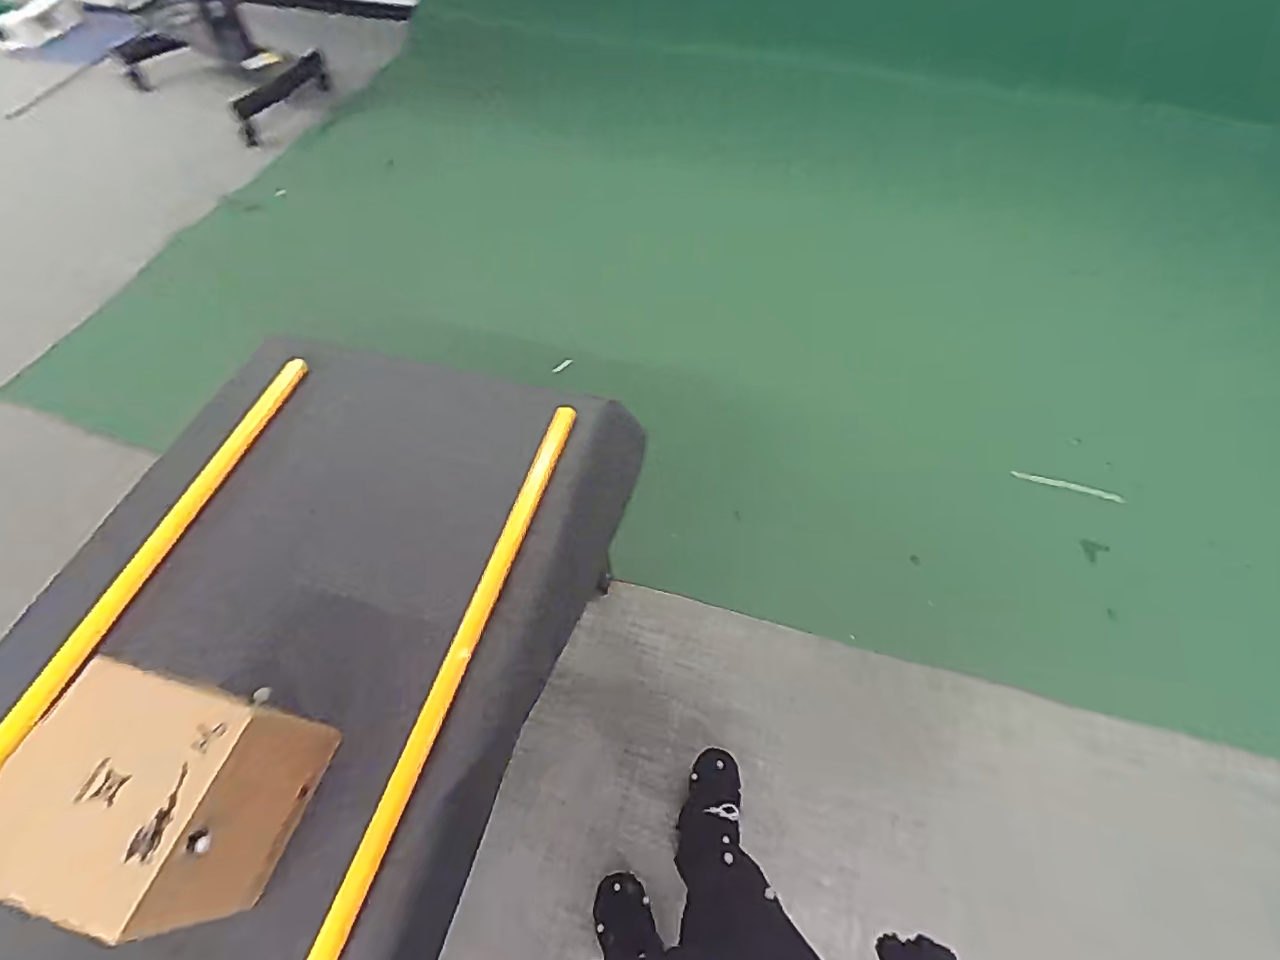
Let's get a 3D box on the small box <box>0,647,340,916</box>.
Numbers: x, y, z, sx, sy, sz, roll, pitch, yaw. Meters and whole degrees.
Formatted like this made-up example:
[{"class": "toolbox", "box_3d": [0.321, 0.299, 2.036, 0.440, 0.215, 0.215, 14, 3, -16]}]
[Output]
[{"class": "small box", "box_3d": [-0.443, 0.283, 0.524, 0.179, 0.176, 0.168, 13, 61, 9]}]
